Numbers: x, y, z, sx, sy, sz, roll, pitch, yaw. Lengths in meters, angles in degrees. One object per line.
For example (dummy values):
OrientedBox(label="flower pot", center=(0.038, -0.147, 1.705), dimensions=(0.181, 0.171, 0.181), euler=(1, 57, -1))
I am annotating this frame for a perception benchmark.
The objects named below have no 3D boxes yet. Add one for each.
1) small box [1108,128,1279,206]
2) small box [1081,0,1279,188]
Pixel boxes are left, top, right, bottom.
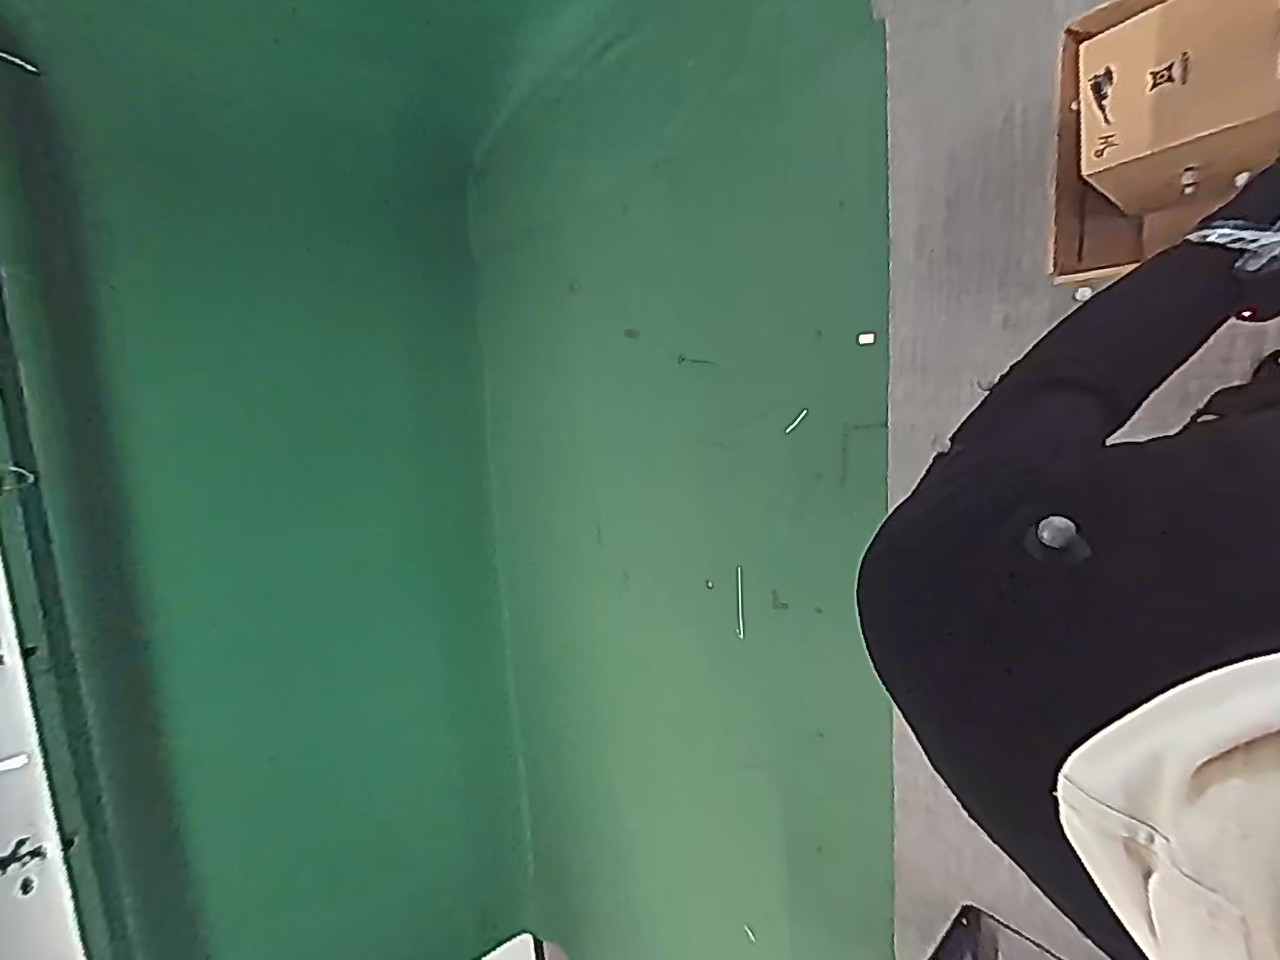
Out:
OrientedBox(label="small box", center=(0.815, -0.522, 0.786), dimensions=(0.179, 0.176, 0.168), euler=(4, 101, 50))
OrientedBox(label="small box", center=(0.688, -0.499, 0.684), dimensions=(0.179, 0.176, 0.168), euler=(2, 99, 51))
